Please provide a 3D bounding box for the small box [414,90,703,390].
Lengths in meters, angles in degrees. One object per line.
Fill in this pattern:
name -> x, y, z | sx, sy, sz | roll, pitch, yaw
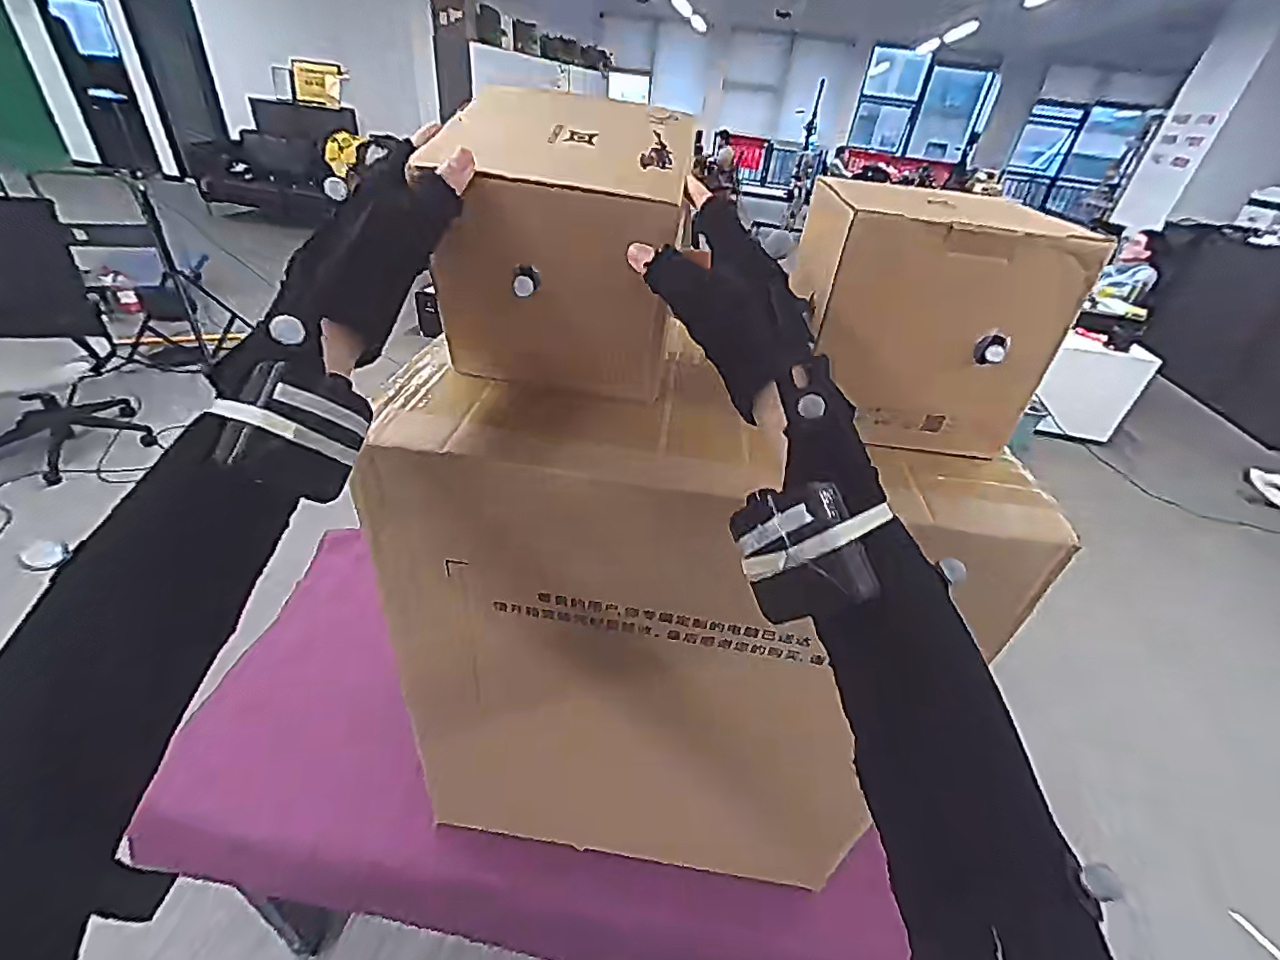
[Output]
small box -> -0.051, -0.193, 0.445 | 0.179, 0.176, 0.168 | 8, 49, 2

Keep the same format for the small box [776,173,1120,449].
small box -> 0.220, -0.143, 0.450 | 0.168, 0.176, 0.179 | 9, 34, 1
